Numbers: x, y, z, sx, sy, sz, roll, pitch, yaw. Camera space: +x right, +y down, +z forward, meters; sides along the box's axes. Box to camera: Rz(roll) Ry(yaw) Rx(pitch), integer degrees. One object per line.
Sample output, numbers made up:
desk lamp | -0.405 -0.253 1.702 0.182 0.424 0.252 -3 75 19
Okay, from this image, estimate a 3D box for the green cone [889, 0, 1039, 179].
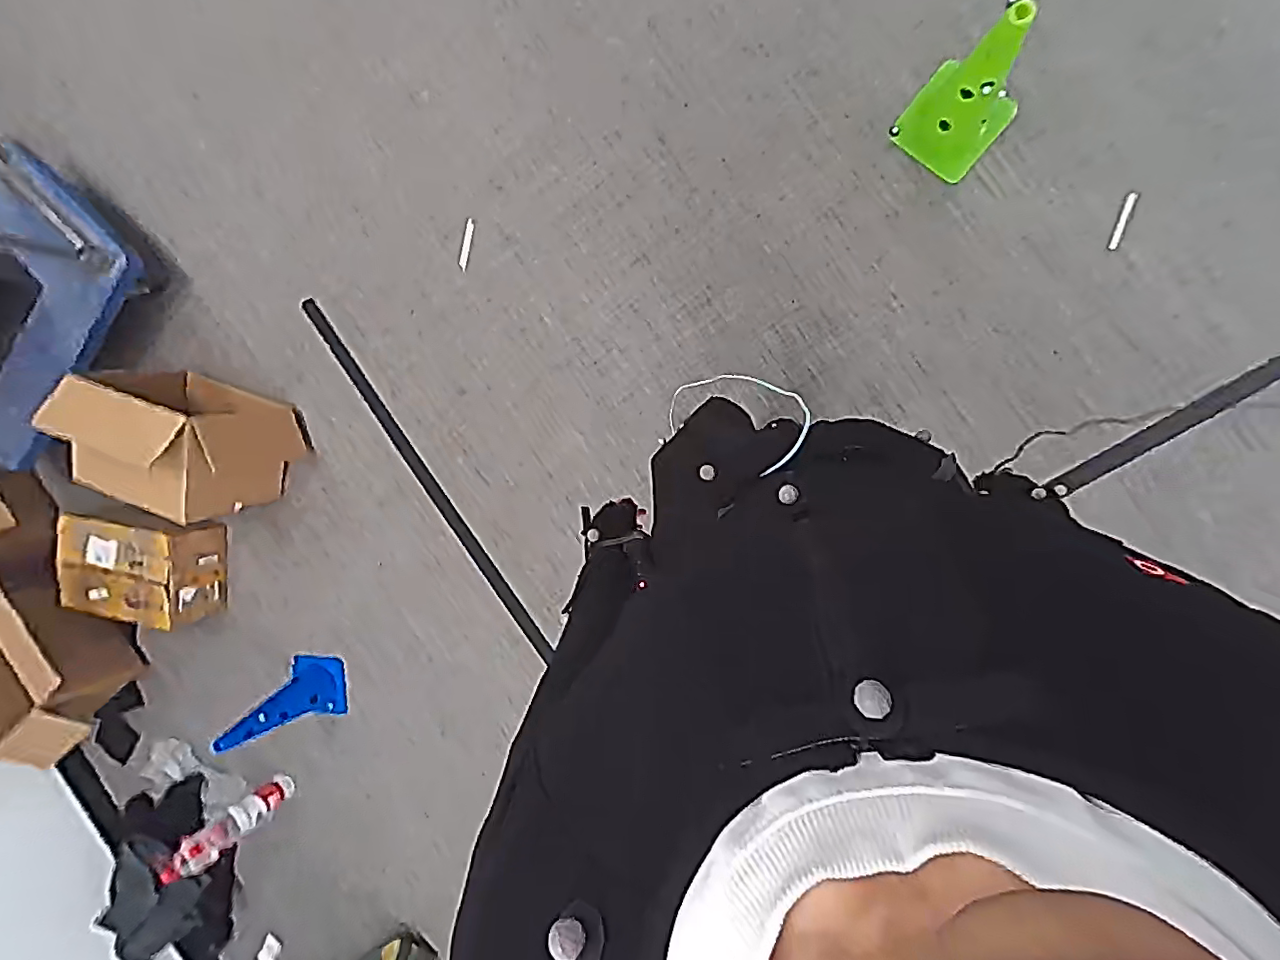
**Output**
green cone | 0.668 -0.797 1.059 0.200 0.368 0.202 40 102 5
